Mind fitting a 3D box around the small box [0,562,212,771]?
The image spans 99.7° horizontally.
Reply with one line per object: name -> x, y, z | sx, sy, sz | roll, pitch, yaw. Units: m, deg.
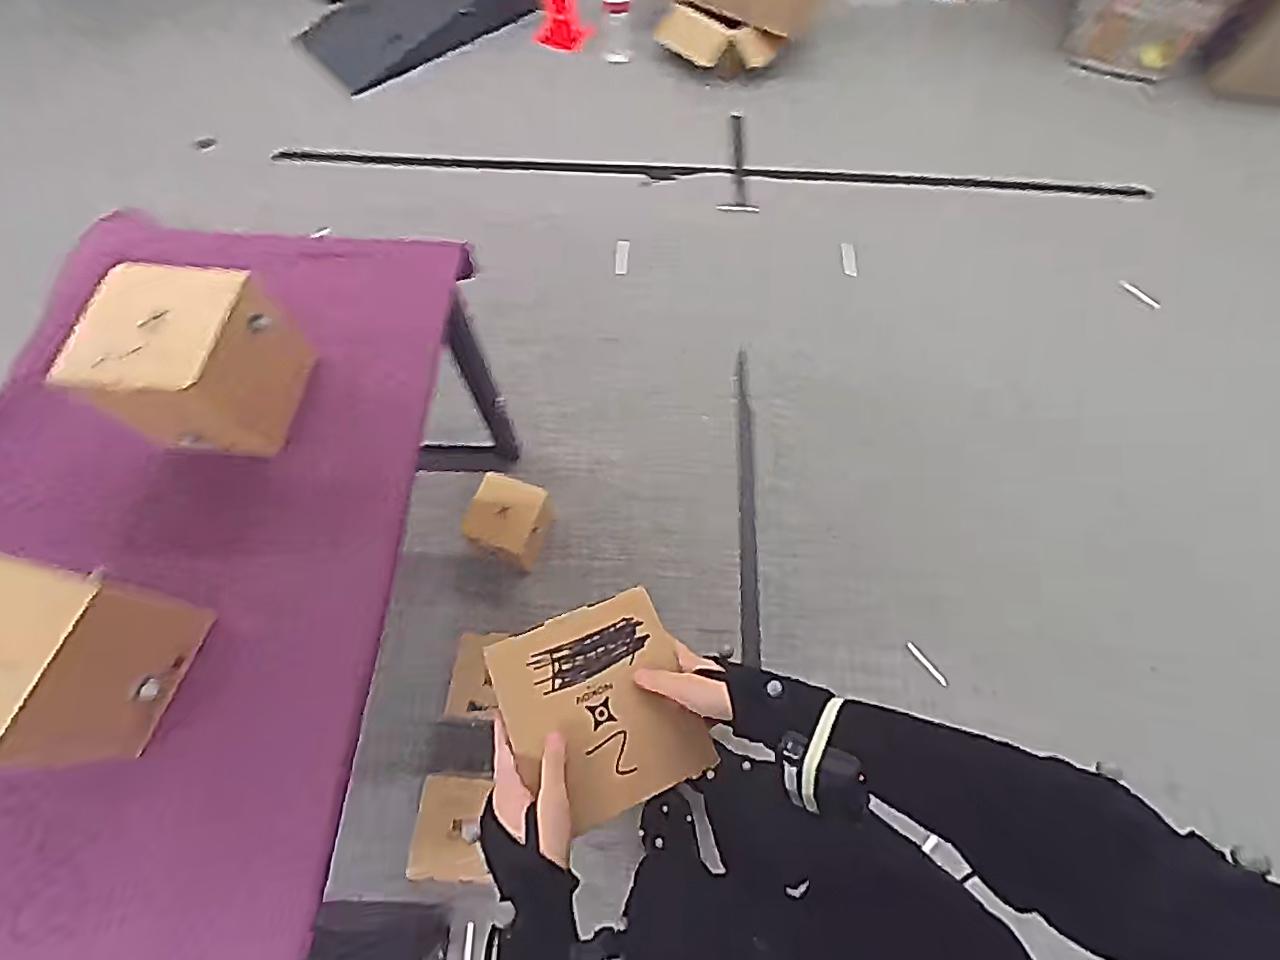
small box -> -0.618, 0.192, 0.564 | 0.179, 0.176, 0.168 | 13, 67, 4

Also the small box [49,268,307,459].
small box -> -0.576, -0.146, 0.709 | 0.168, 0.176, 0.179 | 3, 67, 1

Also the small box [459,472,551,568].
small box -> -0.339, 0.109, 1.400 | 0.168, 0.176, 0.179 | 18, 68, 6

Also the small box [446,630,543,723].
small box -> -0.325, 0.458, 1.250 | 0.168, 0.176, 0.179 | 6, 67, 1
